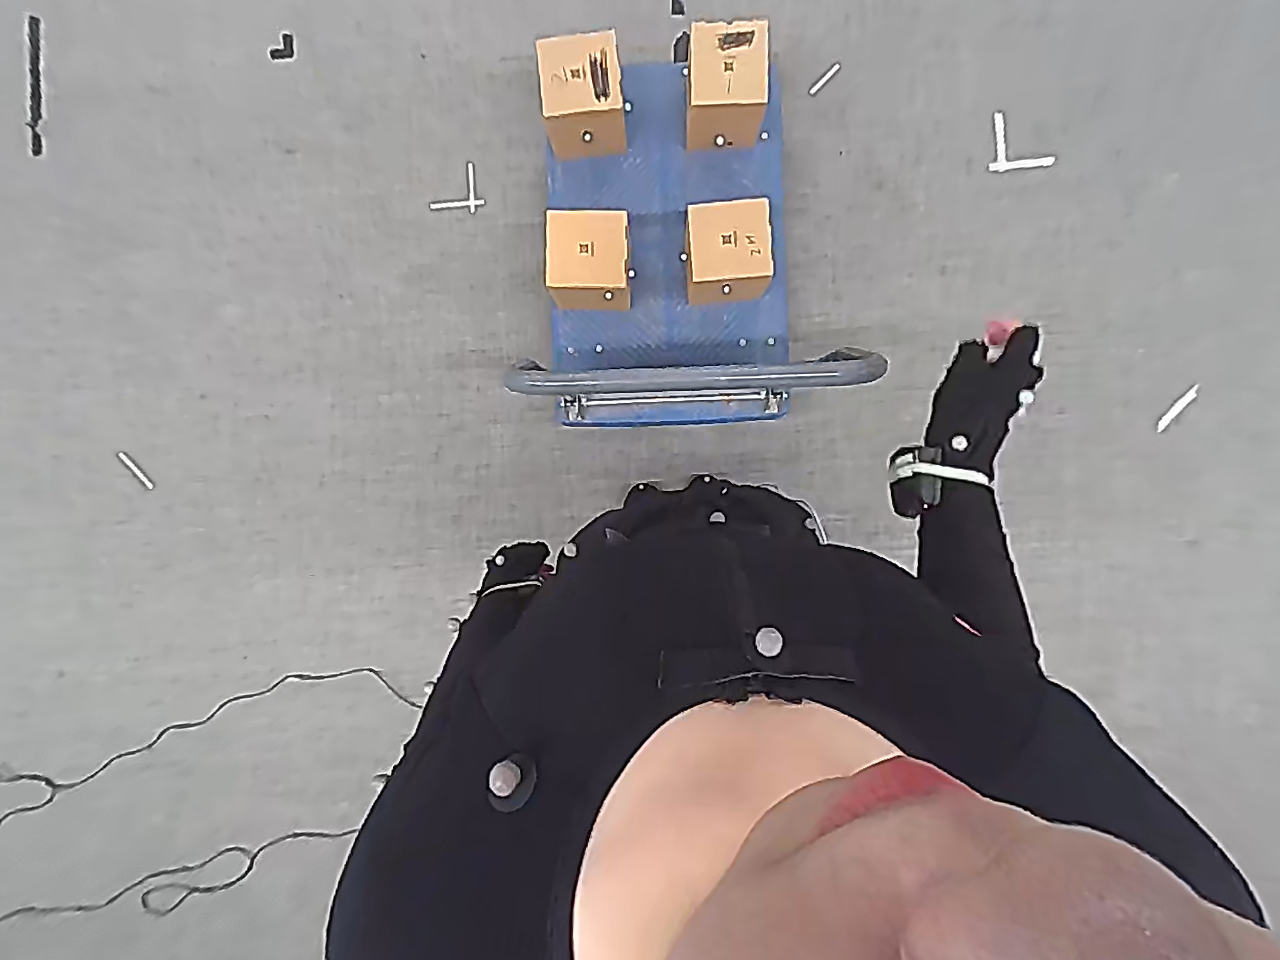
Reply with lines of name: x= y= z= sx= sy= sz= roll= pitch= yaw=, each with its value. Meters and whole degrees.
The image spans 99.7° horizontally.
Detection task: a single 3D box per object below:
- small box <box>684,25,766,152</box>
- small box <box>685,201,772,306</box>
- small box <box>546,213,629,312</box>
small box: x=0.188 y=-0.882 z=1.229 sx=0.168 sy=0.176 sz=0.179 roll=-1 pitch=92 yaw=2
small box: x=0.194 y=-0.508 z=1.235 sx=0.179 sy=0.176 sz=0.168 roll=-4 pitch=91 yaw=2
small box: x=-0.115 y=-0.492 z=1.244 sx=0.179 sy=0.176 sz=0.168 roll=0 pitch=90 yaw=0
